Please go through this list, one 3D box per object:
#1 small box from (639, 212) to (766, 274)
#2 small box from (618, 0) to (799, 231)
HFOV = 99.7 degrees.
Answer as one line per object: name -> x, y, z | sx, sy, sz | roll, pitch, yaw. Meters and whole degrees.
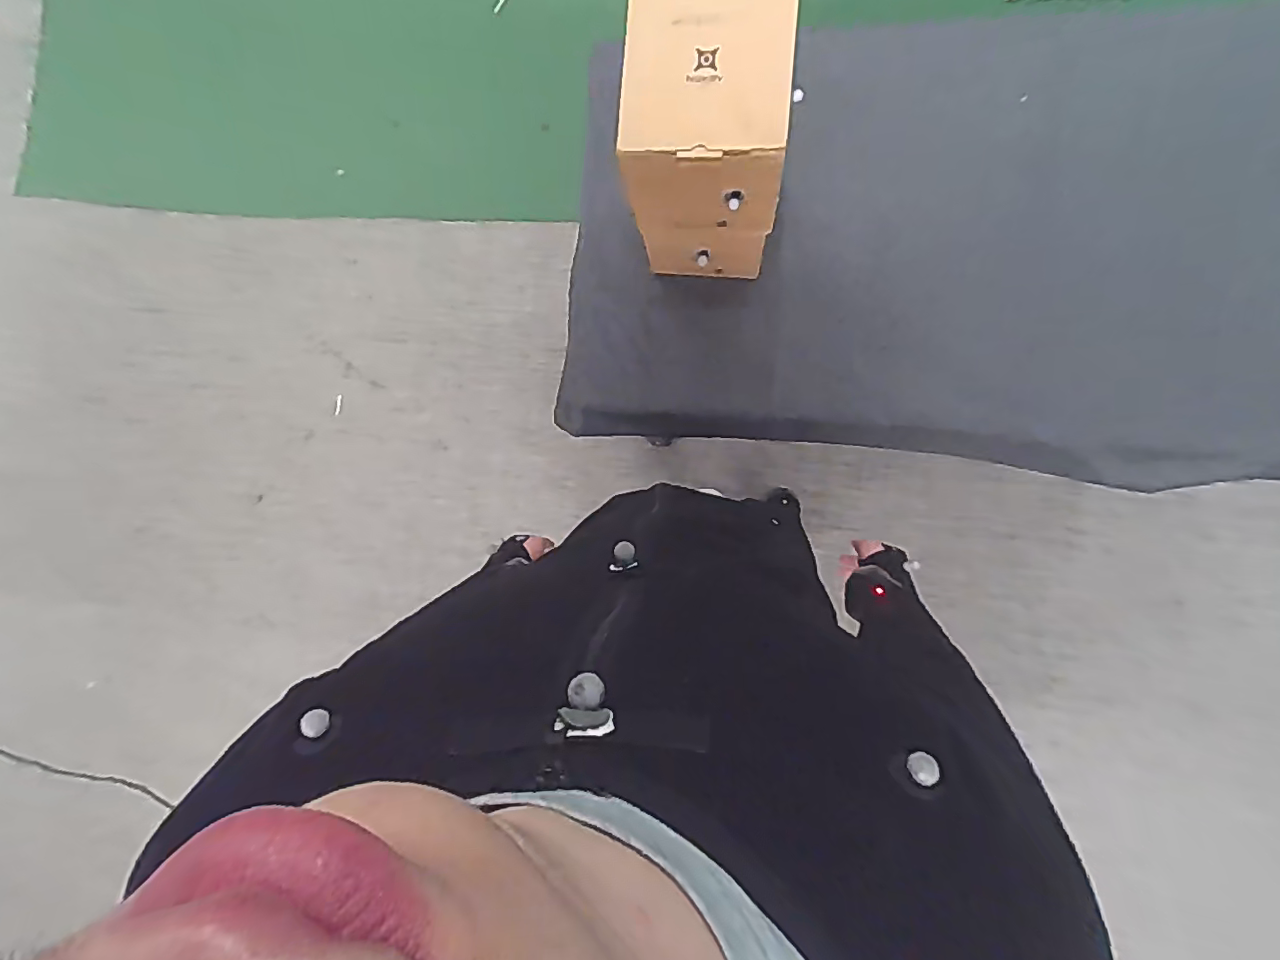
small box -> 0.100, -0.407, 0.761 | 0.168, 0.176, 0.179 | 7, 89, 8
small box -> 0.076, -0.398, 0.600 | 0.168, 0.176, 0.179 | 4, 88, 7
